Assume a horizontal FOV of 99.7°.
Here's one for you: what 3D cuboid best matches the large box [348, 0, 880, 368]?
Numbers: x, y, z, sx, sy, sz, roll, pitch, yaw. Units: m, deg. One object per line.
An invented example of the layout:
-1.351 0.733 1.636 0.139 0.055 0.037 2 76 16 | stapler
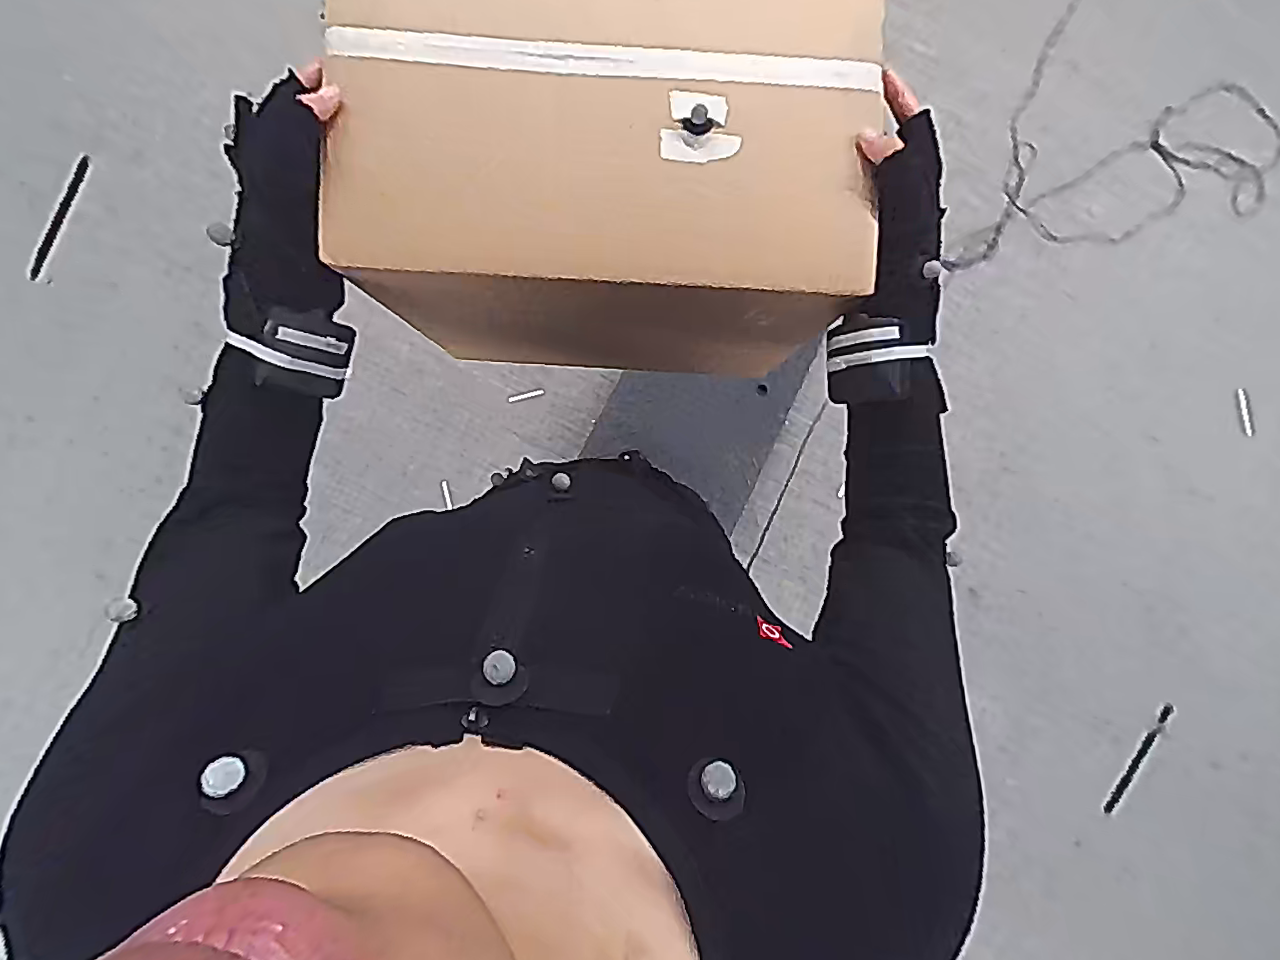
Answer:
-0.022 -0.307 0.560 0.408 0.320 0.320 3 90 -2 | large box
